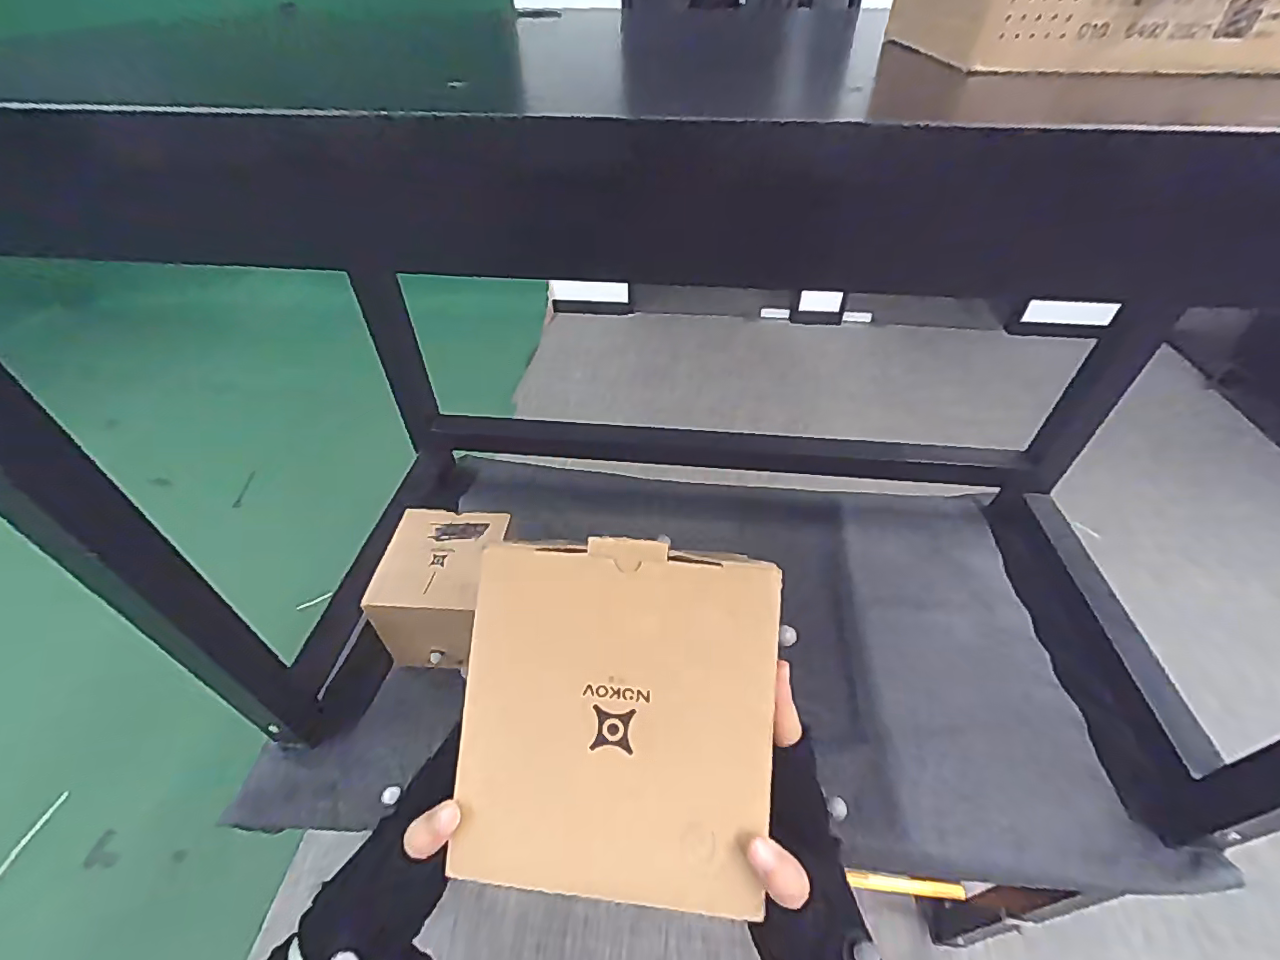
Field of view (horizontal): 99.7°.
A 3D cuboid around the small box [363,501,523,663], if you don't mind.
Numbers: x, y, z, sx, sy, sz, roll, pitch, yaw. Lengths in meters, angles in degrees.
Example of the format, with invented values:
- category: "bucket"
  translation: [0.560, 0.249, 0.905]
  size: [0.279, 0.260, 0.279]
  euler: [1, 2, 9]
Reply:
- category: "small box"
  translation: [-0.283, 0.155, 0.827]
  size: [0.168, 0.176, 0.179]
  euler: [2, 45, 3]
